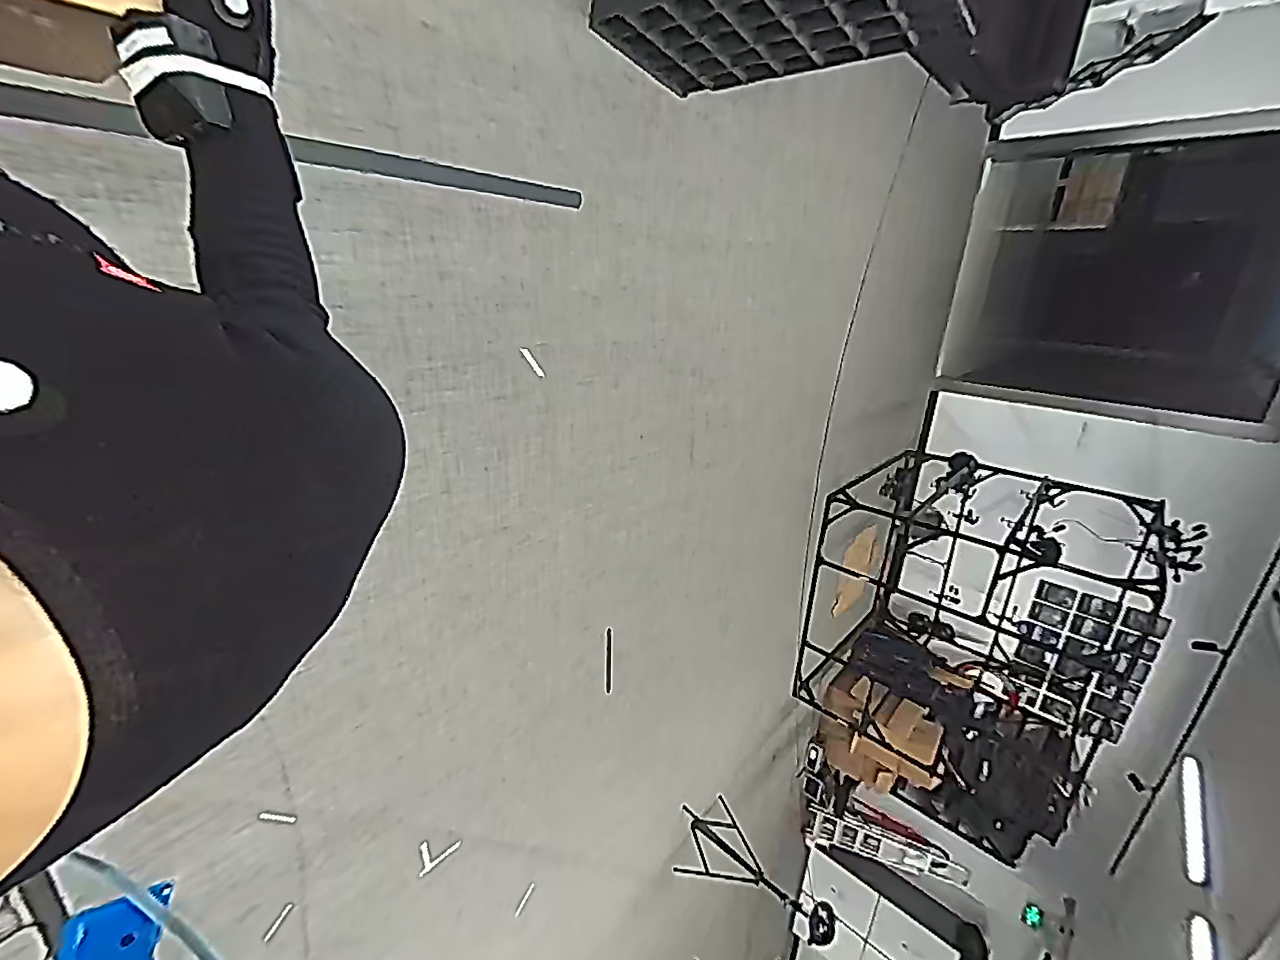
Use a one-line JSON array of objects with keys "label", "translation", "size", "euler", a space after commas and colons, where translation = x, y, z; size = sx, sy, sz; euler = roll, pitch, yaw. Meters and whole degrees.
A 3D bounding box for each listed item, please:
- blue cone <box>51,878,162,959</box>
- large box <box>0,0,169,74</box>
[{"label": "blue cone", "translation": [-1.207, 1.157, 1.248], "size": [0.193, 0.380, 0.192], "euler": [13, 95, -52]}, {"label": "large box", "translation": [-0.564, -0.456, 0.267], "size": [0.408, 0.320, 0.320], "euler": [-22, 125, -46]}]
